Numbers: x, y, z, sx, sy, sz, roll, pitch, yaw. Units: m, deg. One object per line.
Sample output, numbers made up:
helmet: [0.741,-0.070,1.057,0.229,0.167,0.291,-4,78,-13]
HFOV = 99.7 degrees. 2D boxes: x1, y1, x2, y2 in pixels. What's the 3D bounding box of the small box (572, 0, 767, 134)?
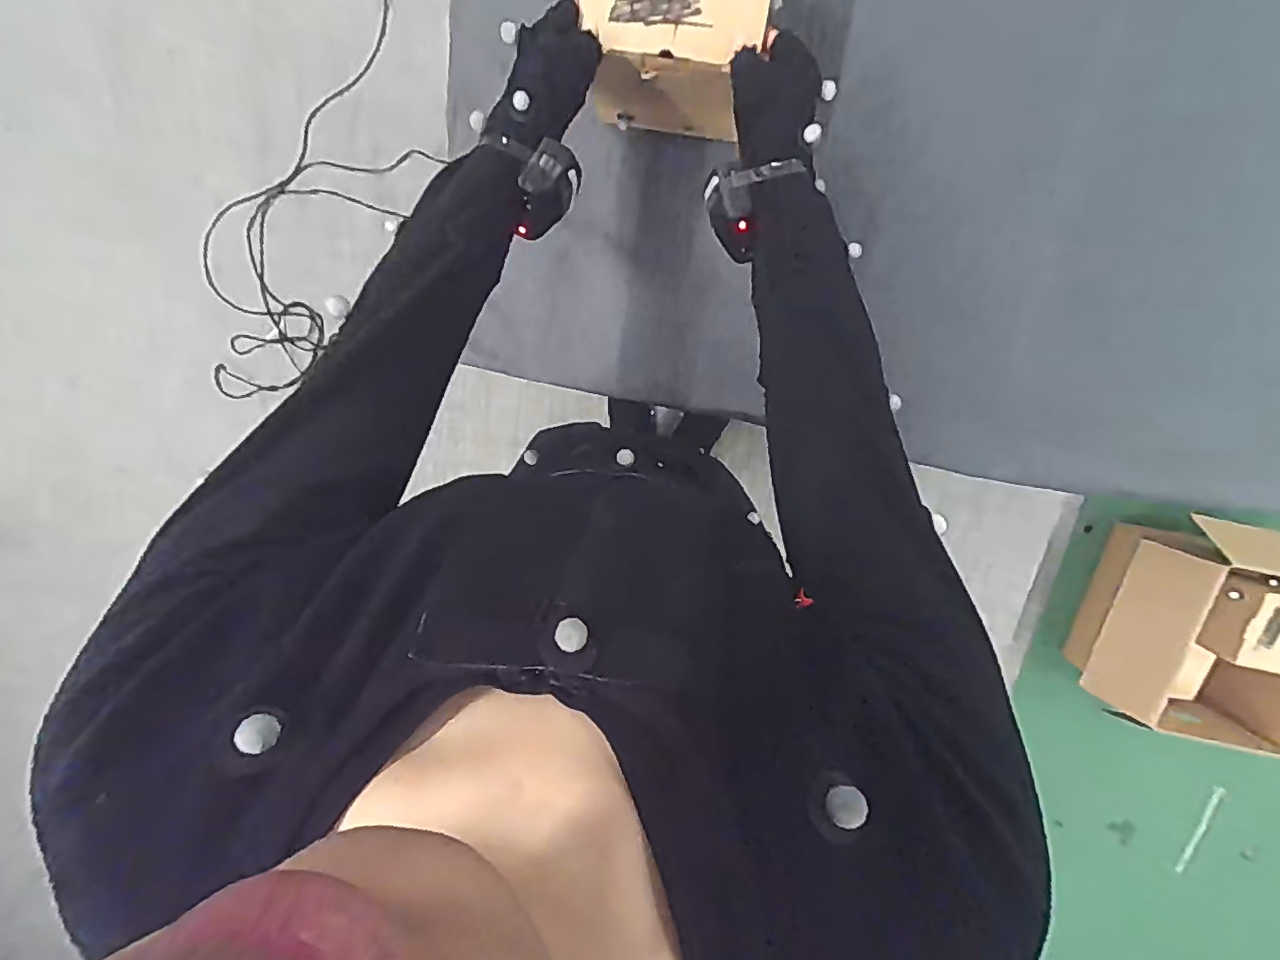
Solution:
small box: [0.040,-0.471,0.530,0.168,0.176,0.179,10,104,2]
